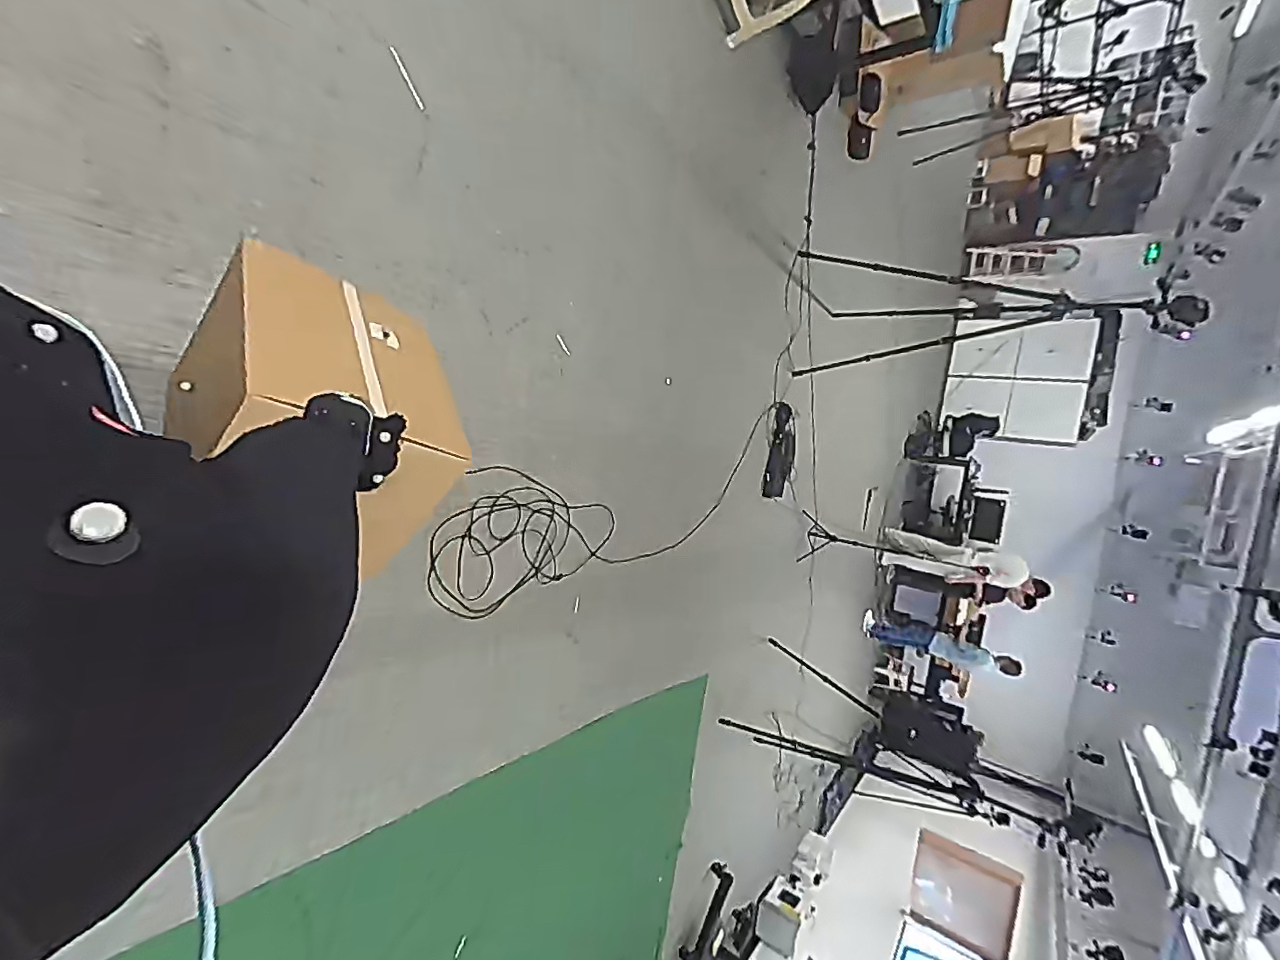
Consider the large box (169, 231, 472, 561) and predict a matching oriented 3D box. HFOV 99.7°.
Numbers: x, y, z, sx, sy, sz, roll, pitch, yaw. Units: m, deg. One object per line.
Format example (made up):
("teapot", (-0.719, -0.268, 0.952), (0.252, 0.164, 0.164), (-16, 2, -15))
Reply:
("large box", (-0.543, -0.119, 0.909), (0.320, 0.408, 0.320), (-44, 144, 20))
